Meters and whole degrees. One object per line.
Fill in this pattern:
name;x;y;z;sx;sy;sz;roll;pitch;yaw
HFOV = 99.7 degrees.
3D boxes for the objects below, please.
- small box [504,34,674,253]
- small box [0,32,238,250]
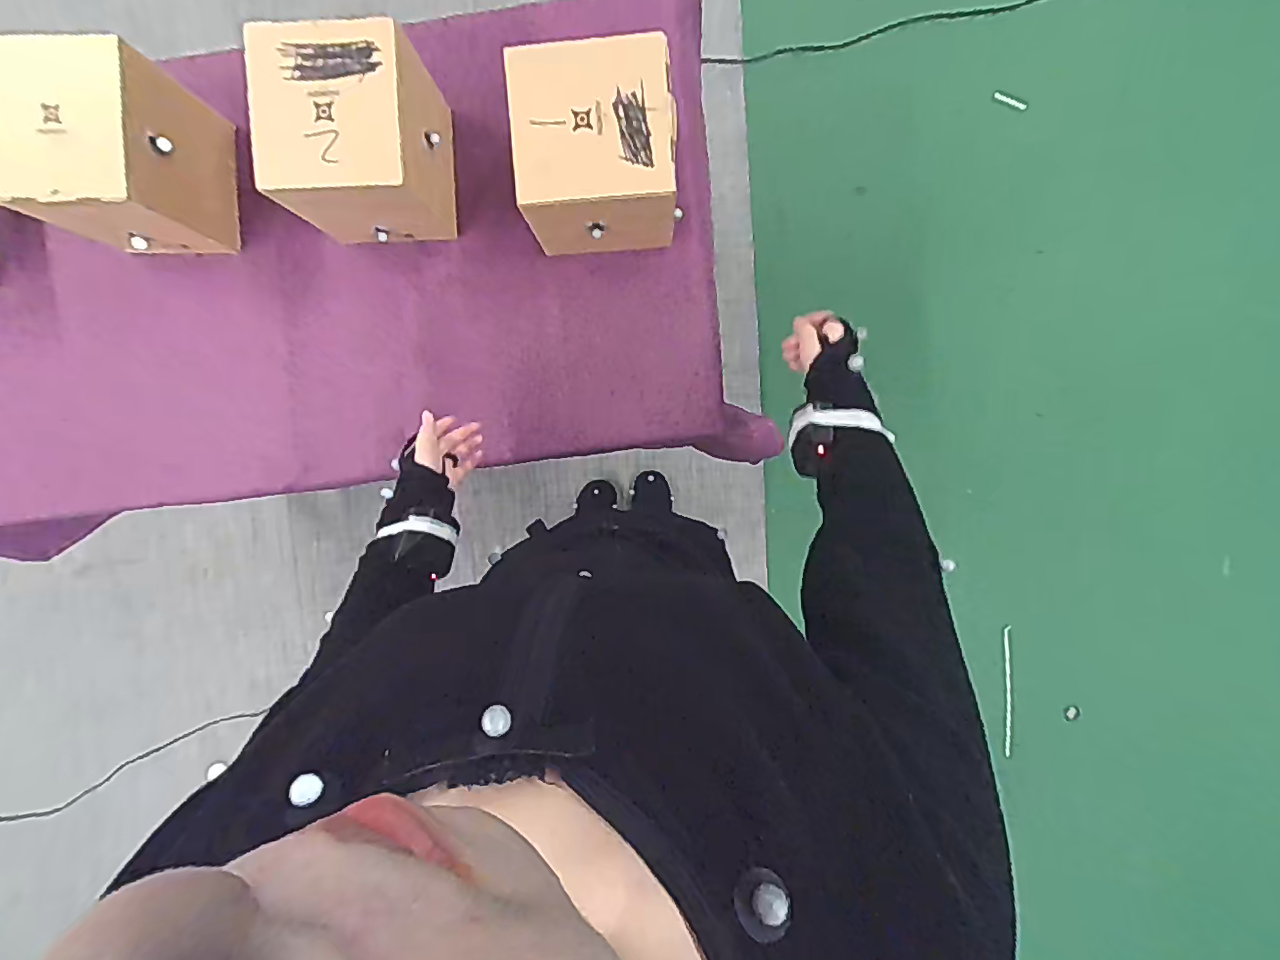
small box;-0.052;-0.391;0.658;0.179;0.176;0.168;-4;94;3
small box;-0.643;-0.406;0.674;0.168;0.176;0.179;1;95;1
